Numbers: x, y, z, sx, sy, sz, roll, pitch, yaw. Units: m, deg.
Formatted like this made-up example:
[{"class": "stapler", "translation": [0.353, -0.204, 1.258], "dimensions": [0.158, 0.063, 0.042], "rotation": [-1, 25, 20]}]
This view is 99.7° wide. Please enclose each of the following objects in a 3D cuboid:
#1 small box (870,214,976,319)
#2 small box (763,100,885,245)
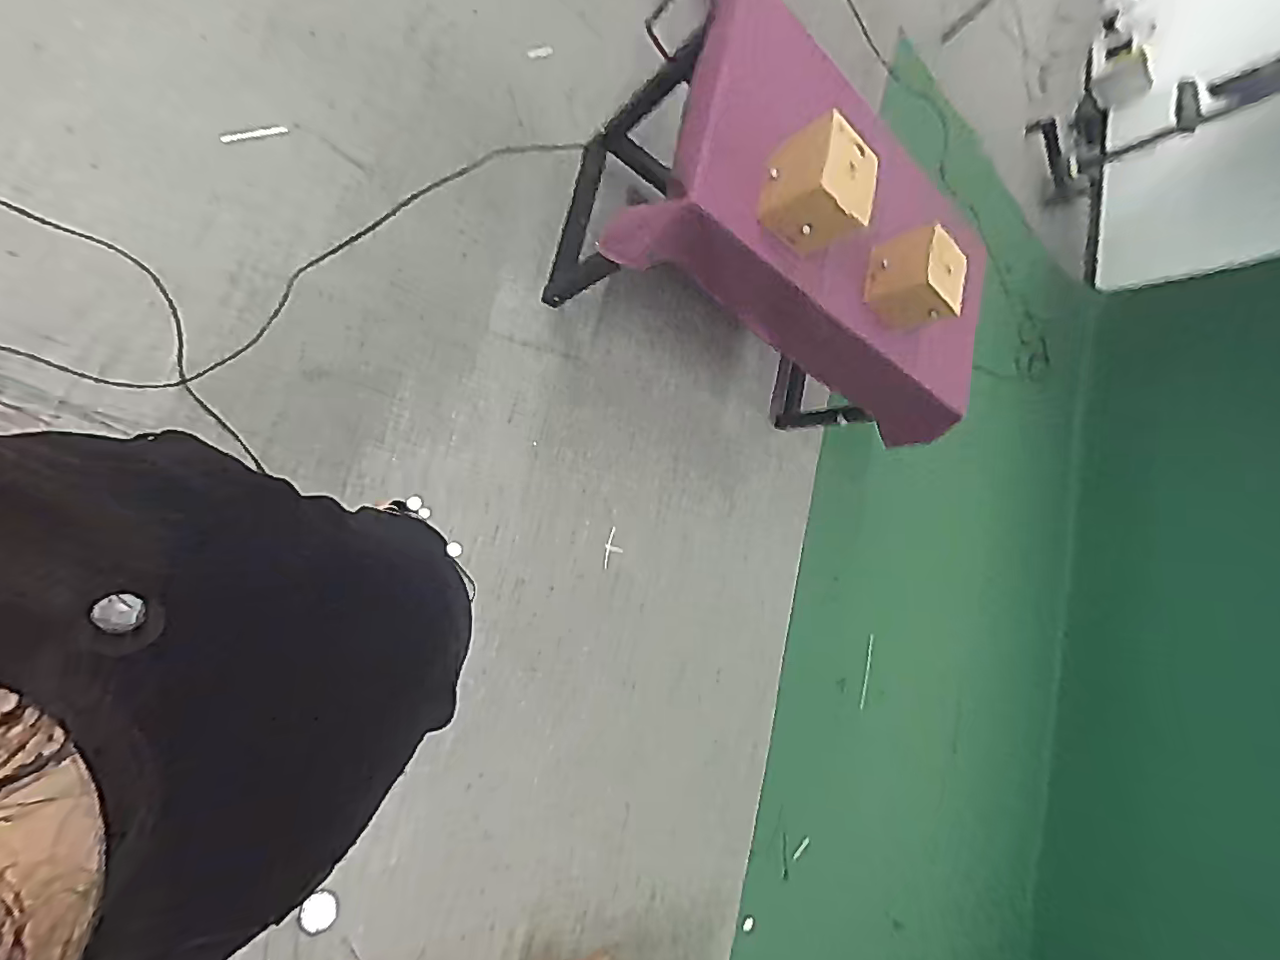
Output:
[{"class": "small box", "translation": [0.719, -0.531, 1.378], "dimensions": [0.179, 0.176, 0.168], "rotation": [22, 77, -33]}, {"class": "small box", "translation": [0.384, -0.634, 1.144], "dimensions": [0.168, 0.176, 0.179], "rotation": [20, 79, -34]}]
